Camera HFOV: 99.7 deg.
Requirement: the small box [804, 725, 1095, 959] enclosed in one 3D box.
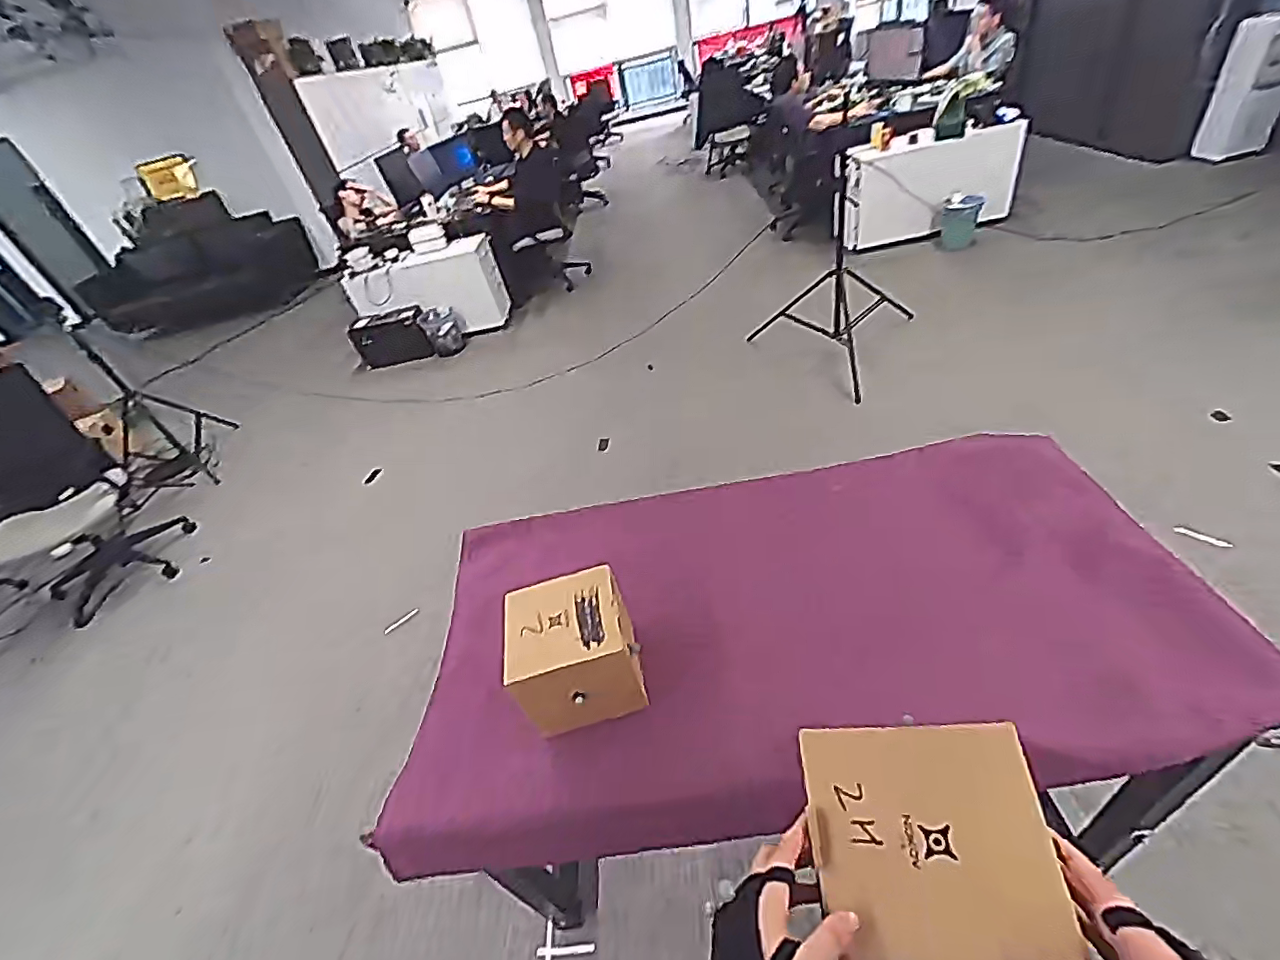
[{"bbox_3d":[0.253,0.323,0.486,0.179,0.176,0.168,-10,54,18],"label":"small box"}]
